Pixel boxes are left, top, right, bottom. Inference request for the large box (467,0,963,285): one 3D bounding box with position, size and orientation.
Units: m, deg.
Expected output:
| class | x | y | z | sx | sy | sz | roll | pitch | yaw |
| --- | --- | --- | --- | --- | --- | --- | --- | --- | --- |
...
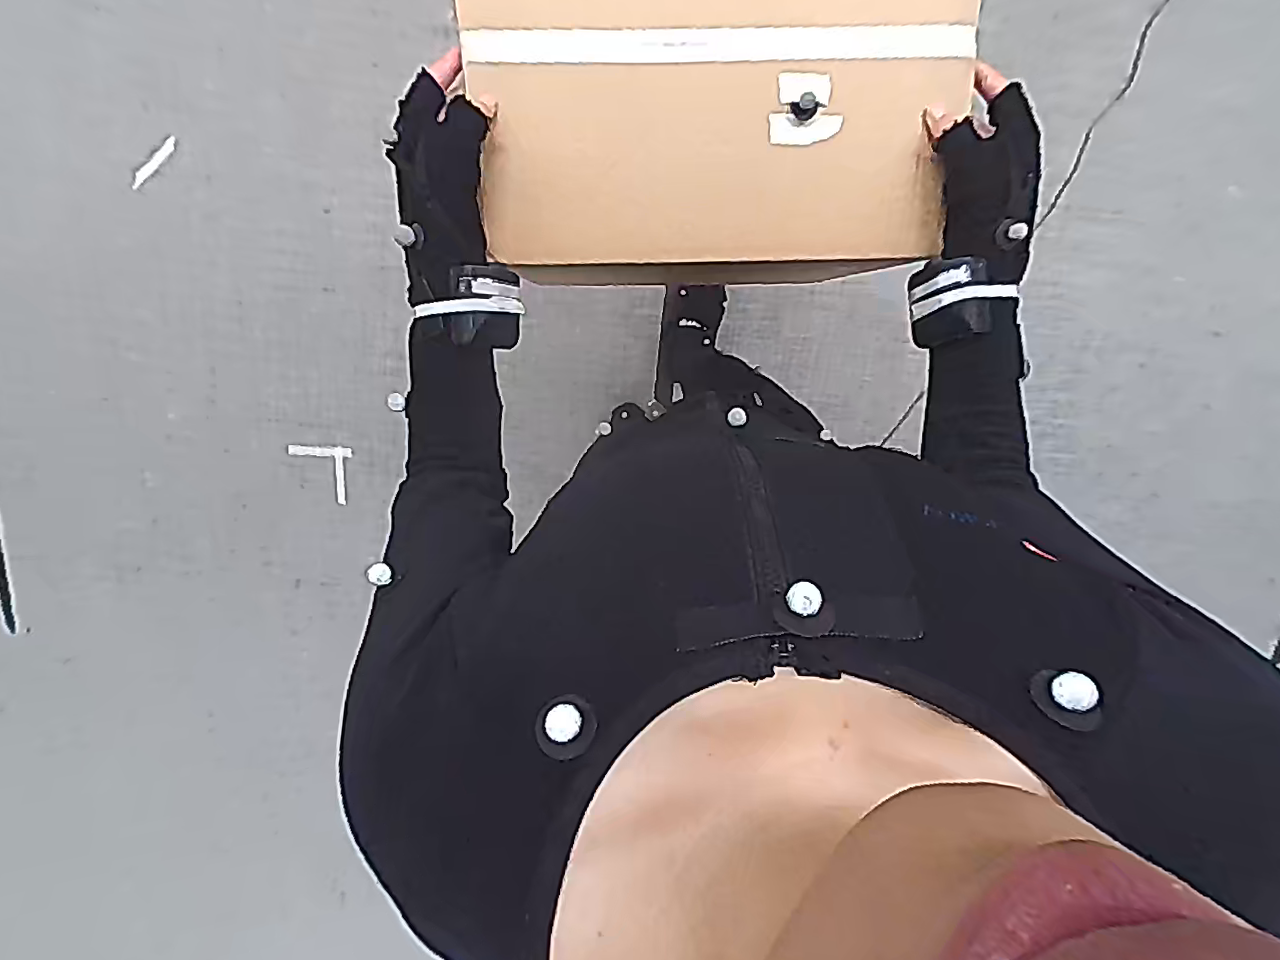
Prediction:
| class | x | y | z | sx | sy | sz | roll | pitch | yaw |
| --- | --- | --- | --- | --- | --- | --- | --- | --- | --- |
| large box | 0.055 | -0.391 | 0.582 | 0.408 | 0.320 | 0.320 | -1 | 106 | -2 |
